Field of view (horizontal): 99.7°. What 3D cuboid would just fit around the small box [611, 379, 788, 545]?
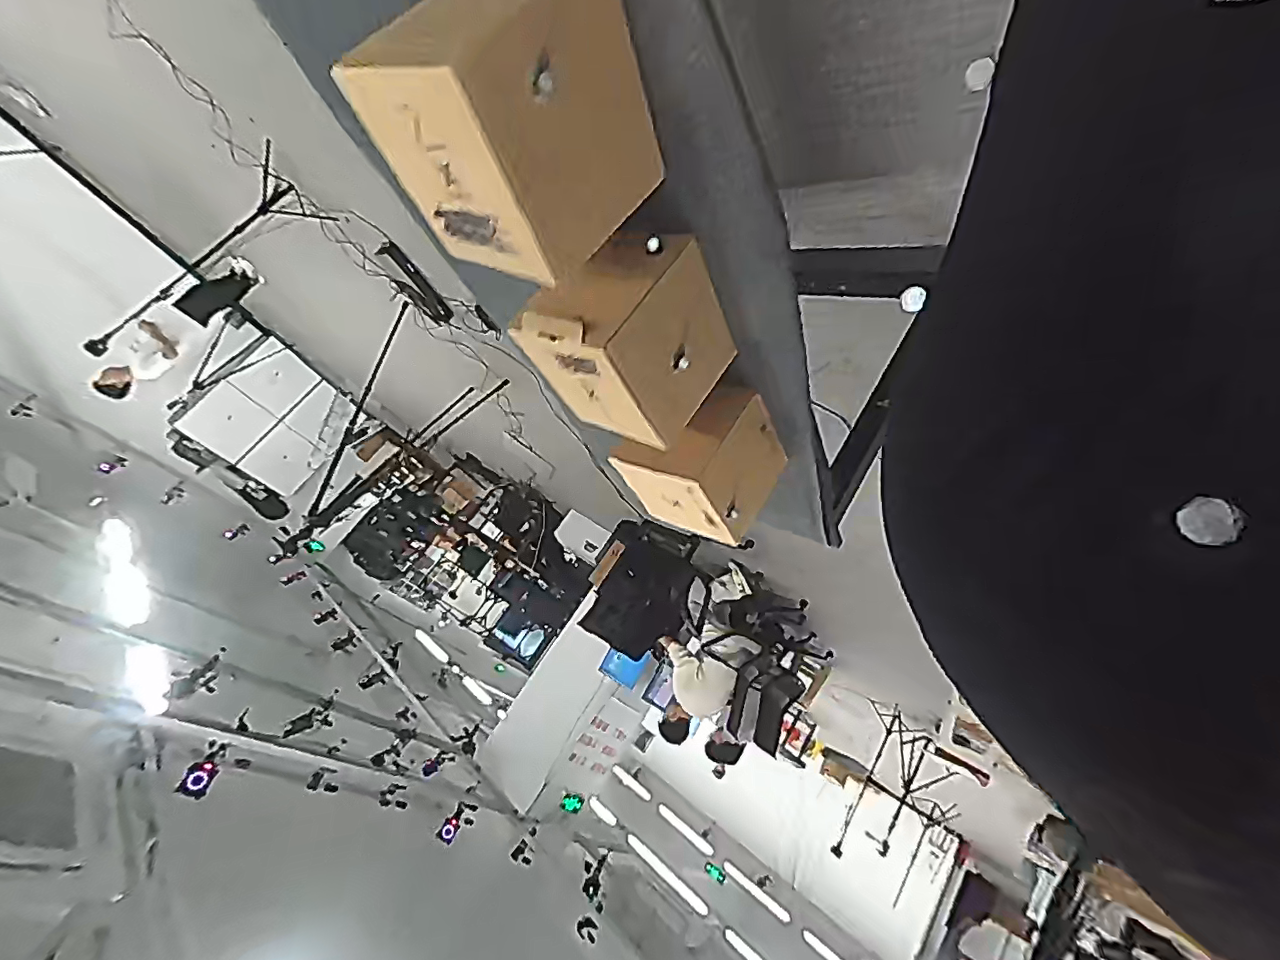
[{"bbox_3d":[0.096,-0.034,0.825,0.179,0.176,0.168,19,157,42],"label":"small box"}]
